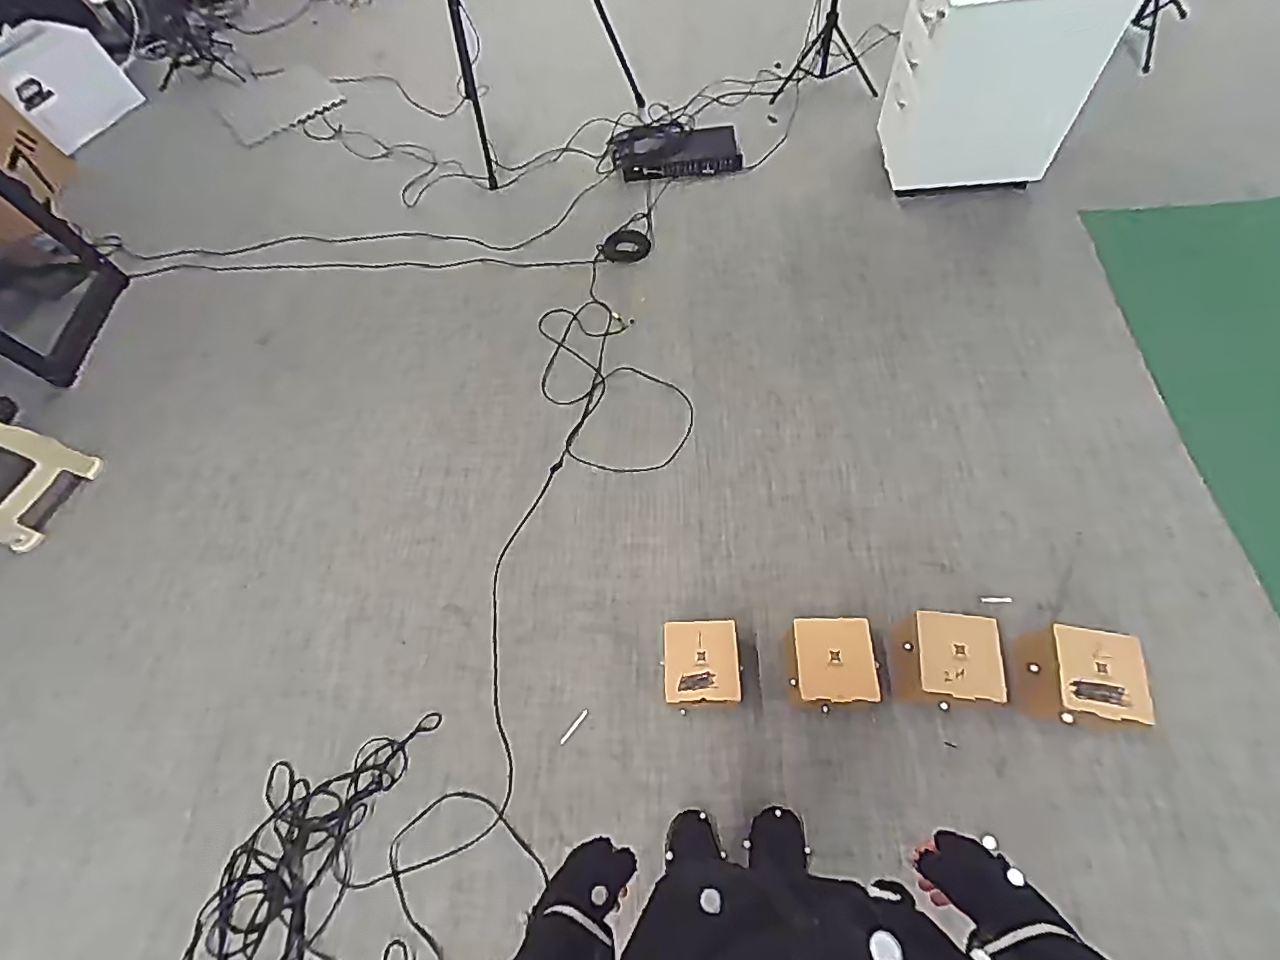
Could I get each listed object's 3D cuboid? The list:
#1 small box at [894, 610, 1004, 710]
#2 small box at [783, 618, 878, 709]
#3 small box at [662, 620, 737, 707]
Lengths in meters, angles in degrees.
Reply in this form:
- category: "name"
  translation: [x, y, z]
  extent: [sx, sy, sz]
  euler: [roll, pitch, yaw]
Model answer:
- category: "small box"
  translation: [0.685, 0.409, 1.223]
  extent: [0.168, 0.176, 0.179]
  euler: [5, 64, 10]
- category: "small box"
  translation: [0.430, 0.426, 1.248]
  extent: [0.168, 0.176, 0.179]
  euler: [-2, 63, 6]
- category: "small box"
  translation: [0.141, 0.438, 1.277]
  extent: [0.168, 0.176, 0.179]
  euler: [-3, 61, 6]
